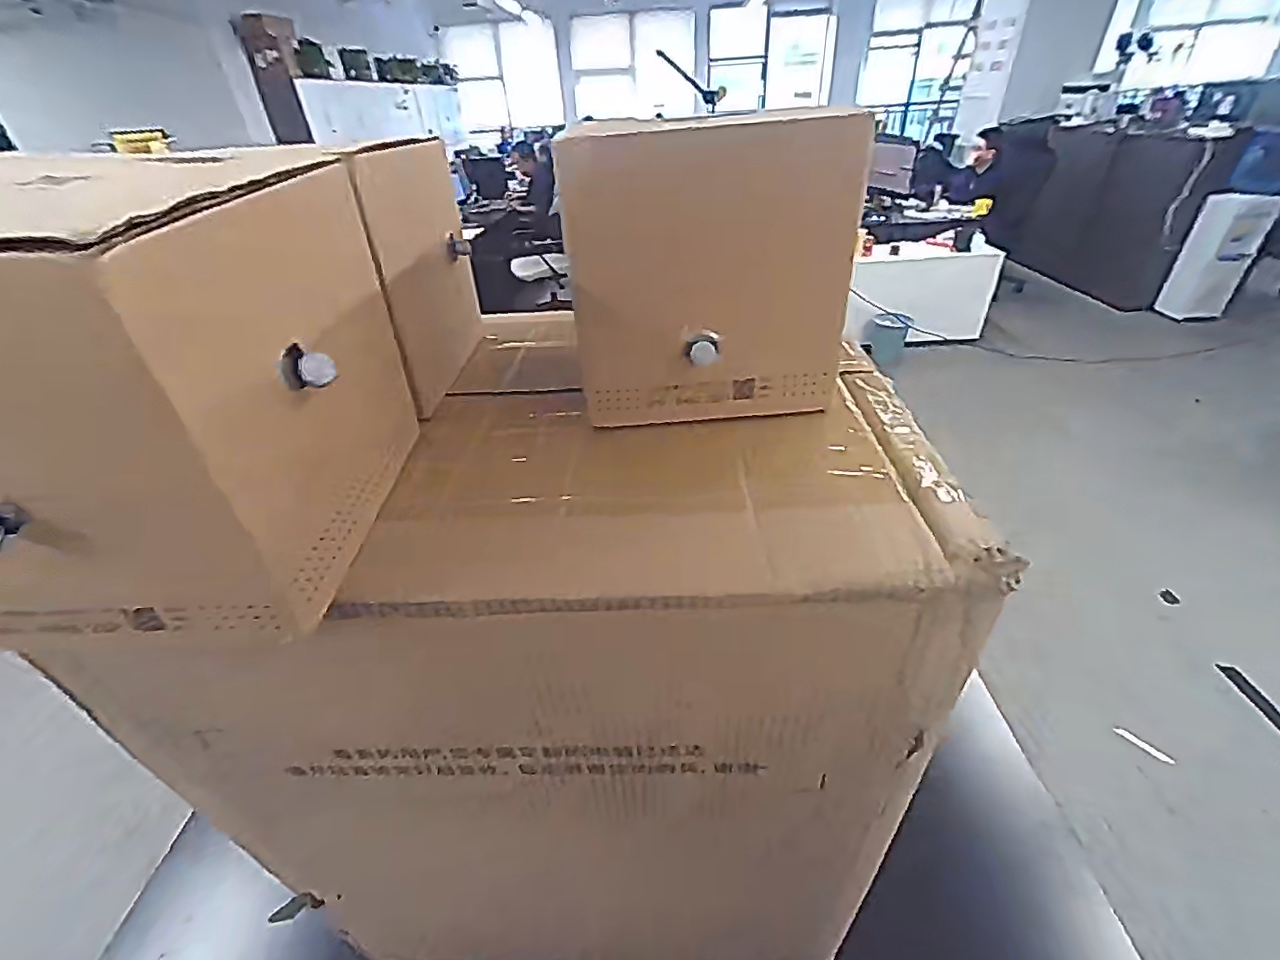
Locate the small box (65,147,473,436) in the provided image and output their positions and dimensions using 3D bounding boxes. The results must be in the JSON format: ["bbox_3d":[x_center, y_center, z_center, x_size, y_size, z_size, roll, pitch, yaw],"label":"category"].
[{"bbox_3d":[-0.239,-0.148,0.413,0.168,0.176,0.179,-3,35,1],"label":"small box"}]

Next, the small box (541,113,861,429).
[{"bbox_3d":[0.034,-0.152,0.385,0.168,0.176,0.179,-5,34,1],"label":"small box"}]
